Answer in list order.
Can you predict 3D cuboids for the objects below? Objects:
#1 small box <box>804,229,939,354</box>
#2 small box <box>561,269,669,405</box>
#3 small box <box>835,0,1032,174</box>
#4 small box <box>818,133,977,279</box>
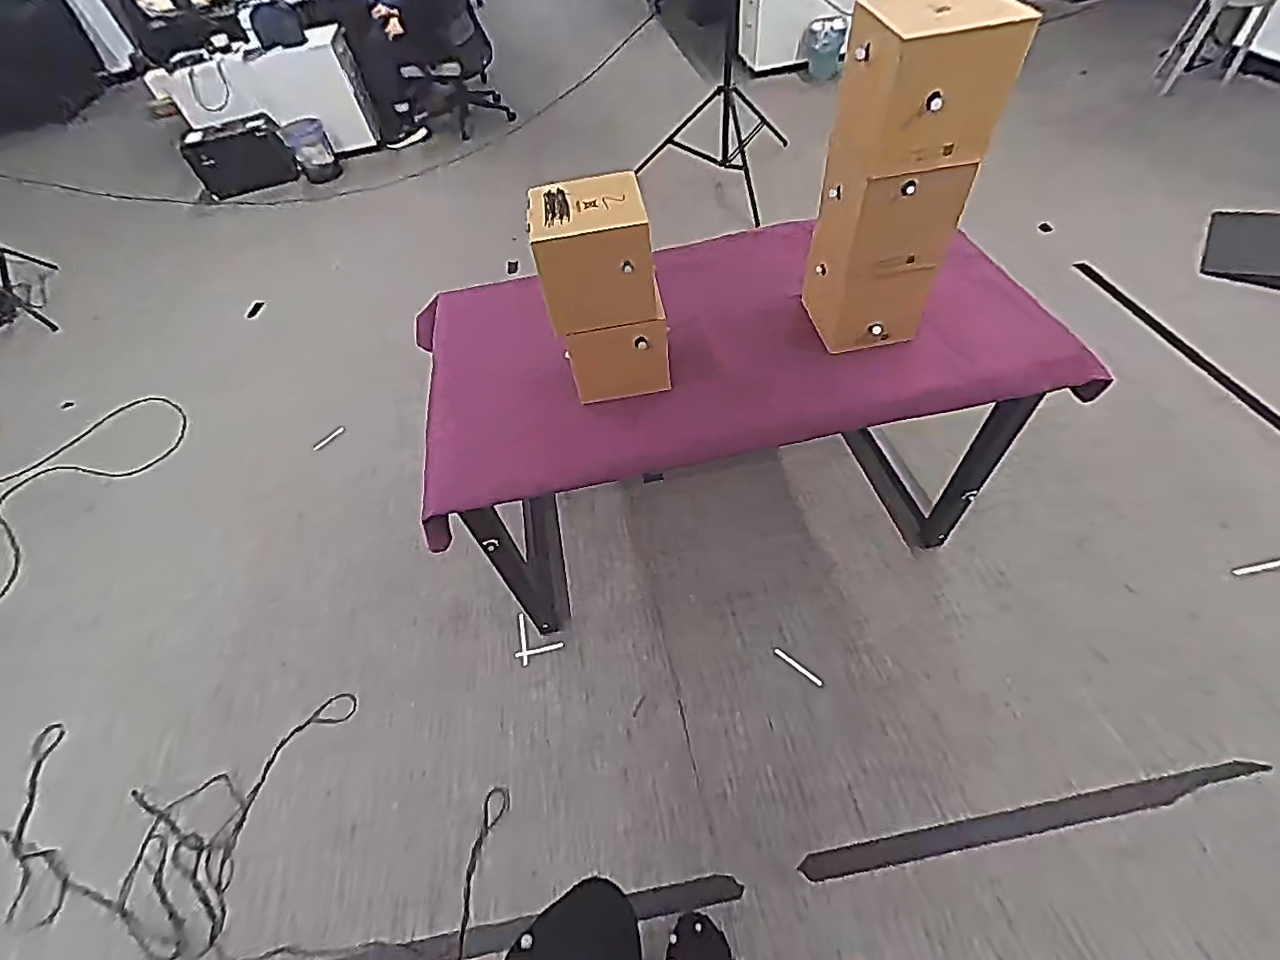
[{"bbox_3d":[0.423,-0.367,1.027,0.168,0.176,0.179,-11,53,0],"label":"small box"},{"bbox_3d":[-0.043,-0.264,1.013,0.179,0.176,0.168,-10,52,1],"label":"small box"},{"bbox_3d":[0.391,-0.551,0.759,0.168,0.176,0.179,-9,53,2],"label":"small box"},{"bbox_3d":[0.407,-0.460,0.894,0.168,0.176,0.179,-9,52,2],"label":"small box"}]
